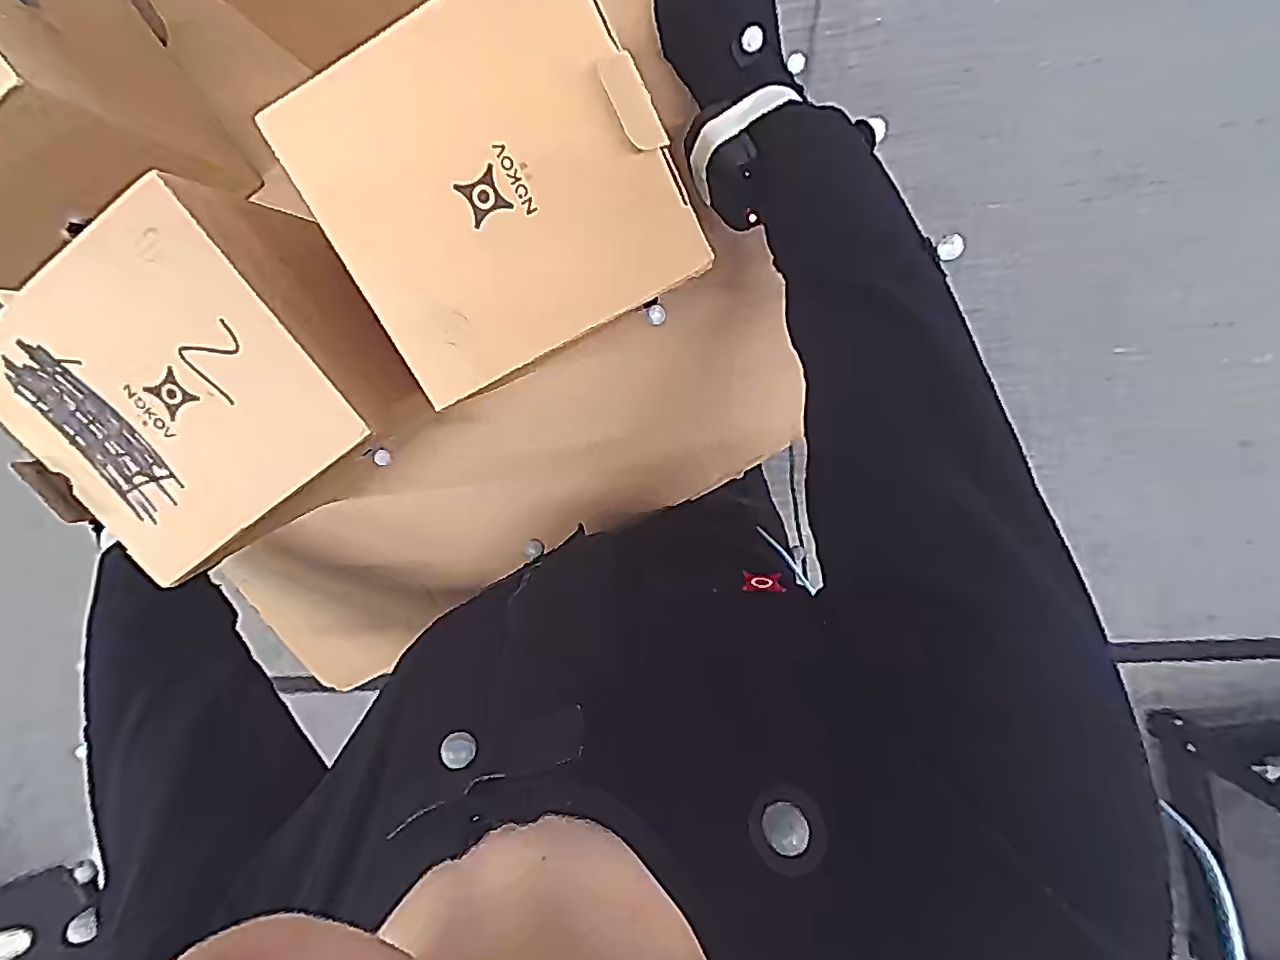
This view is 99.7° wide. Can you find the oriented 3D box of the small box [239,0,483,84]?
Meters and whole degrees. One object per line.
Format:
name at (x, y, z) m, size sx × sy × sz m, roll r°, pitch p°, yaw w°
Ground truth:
small box at (-0.182, -0.380, 0.302) m, size 0.179 × 0.176 × 0.168 m, roll -28°, pitch 100°, yaw 11°
